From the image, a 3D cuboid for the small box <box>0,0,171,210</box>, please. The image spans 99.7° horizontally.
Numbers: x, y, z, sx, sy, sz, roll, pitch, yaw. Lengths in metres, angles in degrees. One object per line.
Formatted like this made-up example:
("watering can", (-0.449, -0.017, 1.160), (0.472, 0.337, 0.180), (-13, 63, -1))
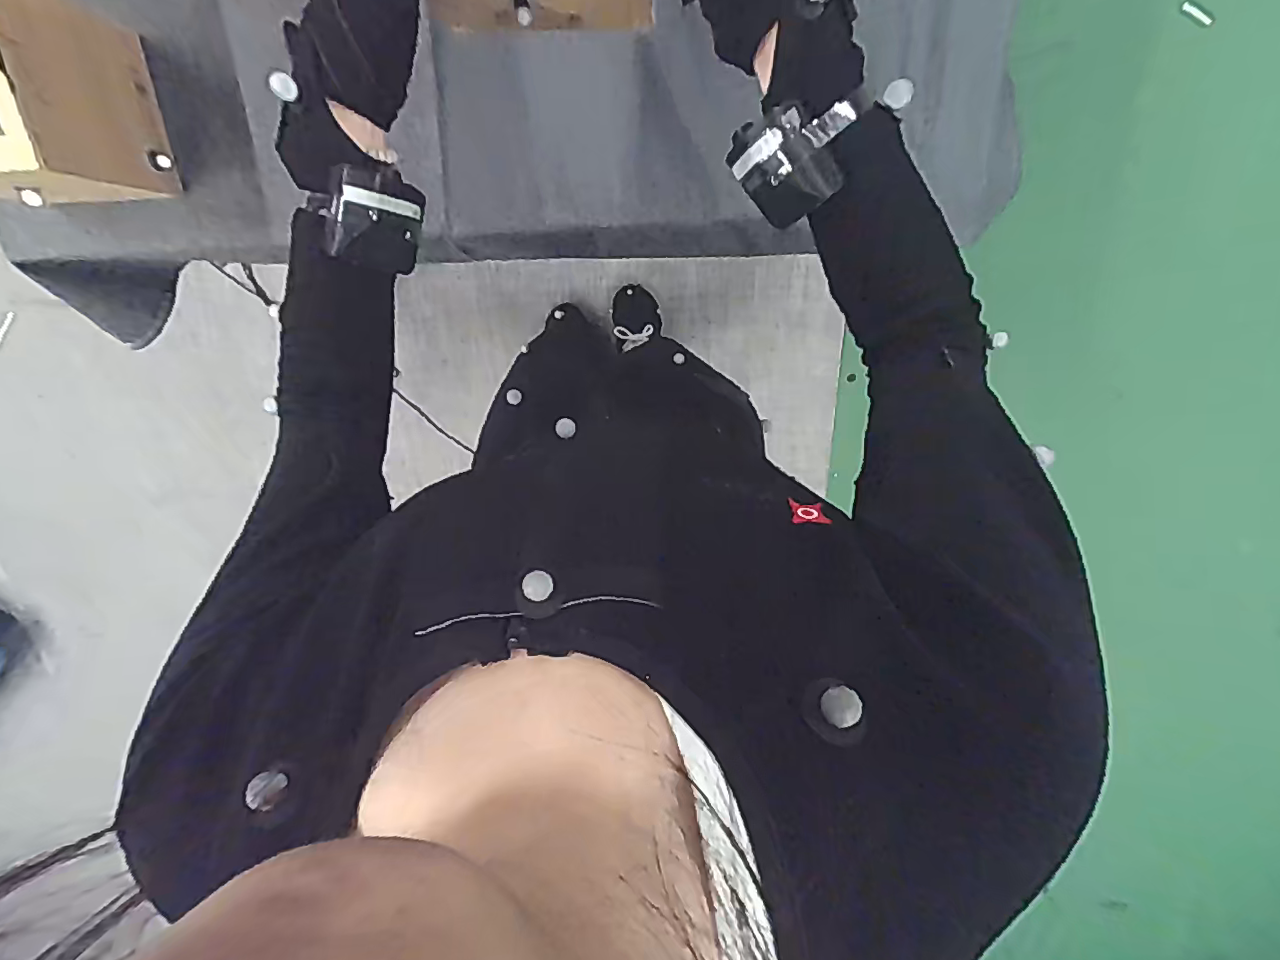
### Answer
("small box", (-0.636, -0.379, 0.552), (0.179, 0.176, 0.168), (-2, 109, 2))
